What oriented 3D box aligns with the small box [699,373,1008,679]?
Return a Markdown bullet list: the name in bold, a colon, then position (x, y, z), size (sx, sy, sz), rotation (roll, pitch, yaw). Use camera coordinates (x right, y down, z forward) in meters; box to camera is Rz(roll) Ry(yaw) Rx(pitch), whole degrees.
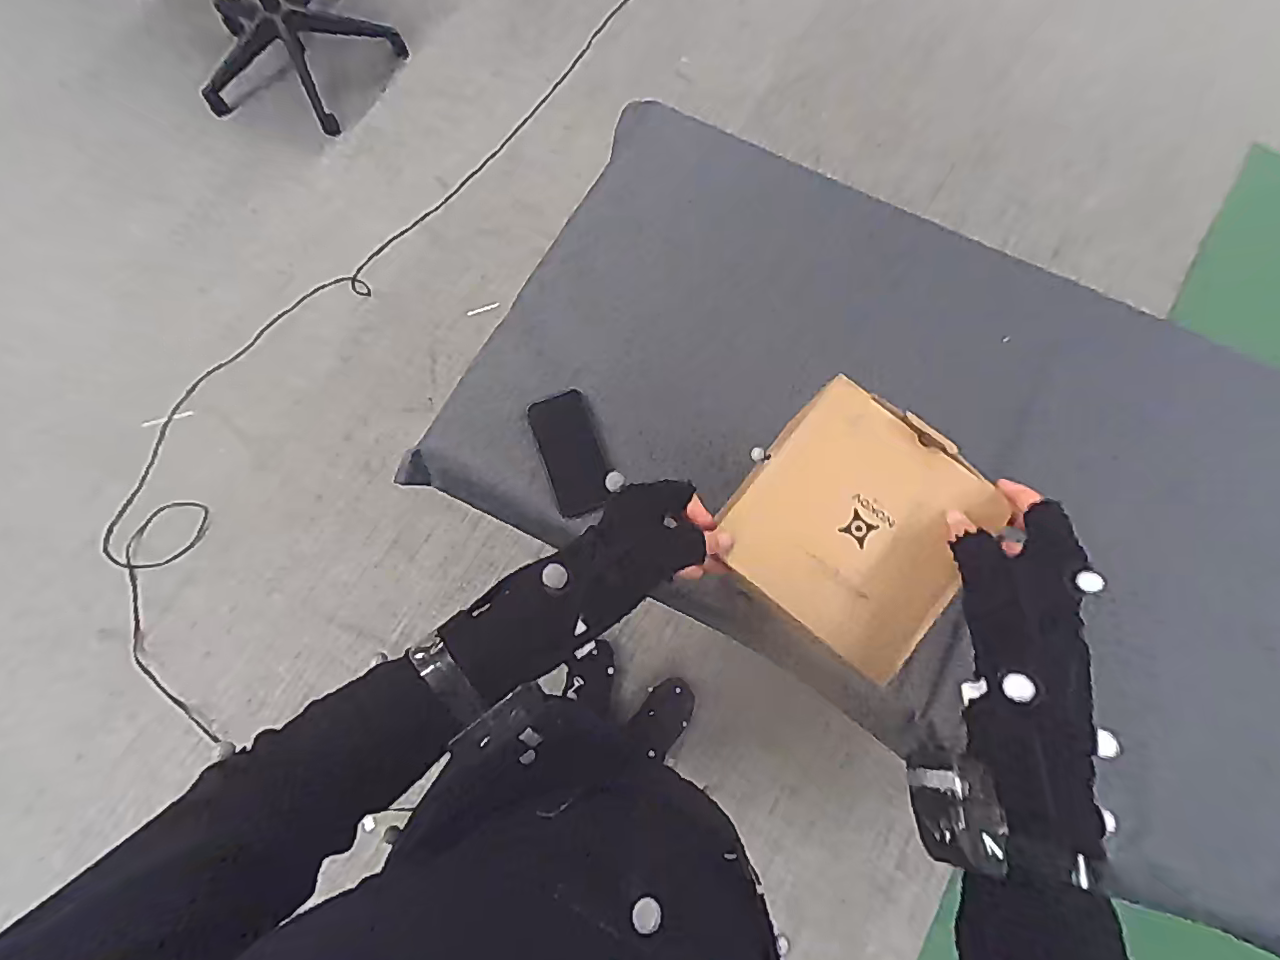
- **small box**: position (0.166, 0.041, 0.487), size (0.168, 0.176, 0.179), rotation (38, 85, 8)
